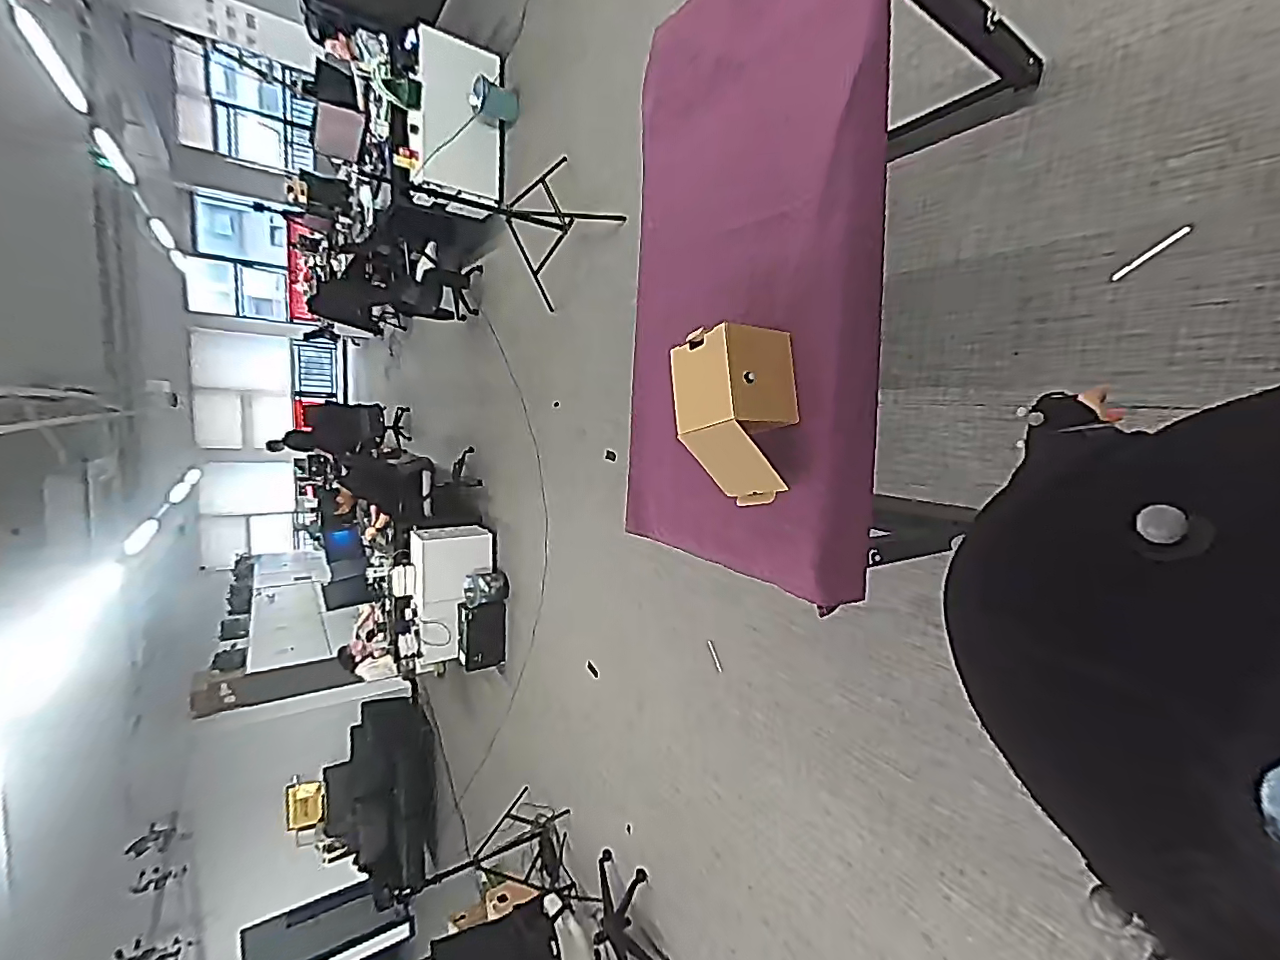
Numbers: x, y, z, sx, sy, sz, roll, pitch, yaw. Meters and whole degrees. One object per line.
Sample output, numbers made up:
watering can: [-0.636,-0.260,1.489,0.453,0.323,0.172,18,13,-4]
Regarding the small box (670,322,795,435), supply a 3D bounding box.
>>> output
small box: [0.178,-0.184,1.035,0.168,0.176,0.179,-11,83,56]
